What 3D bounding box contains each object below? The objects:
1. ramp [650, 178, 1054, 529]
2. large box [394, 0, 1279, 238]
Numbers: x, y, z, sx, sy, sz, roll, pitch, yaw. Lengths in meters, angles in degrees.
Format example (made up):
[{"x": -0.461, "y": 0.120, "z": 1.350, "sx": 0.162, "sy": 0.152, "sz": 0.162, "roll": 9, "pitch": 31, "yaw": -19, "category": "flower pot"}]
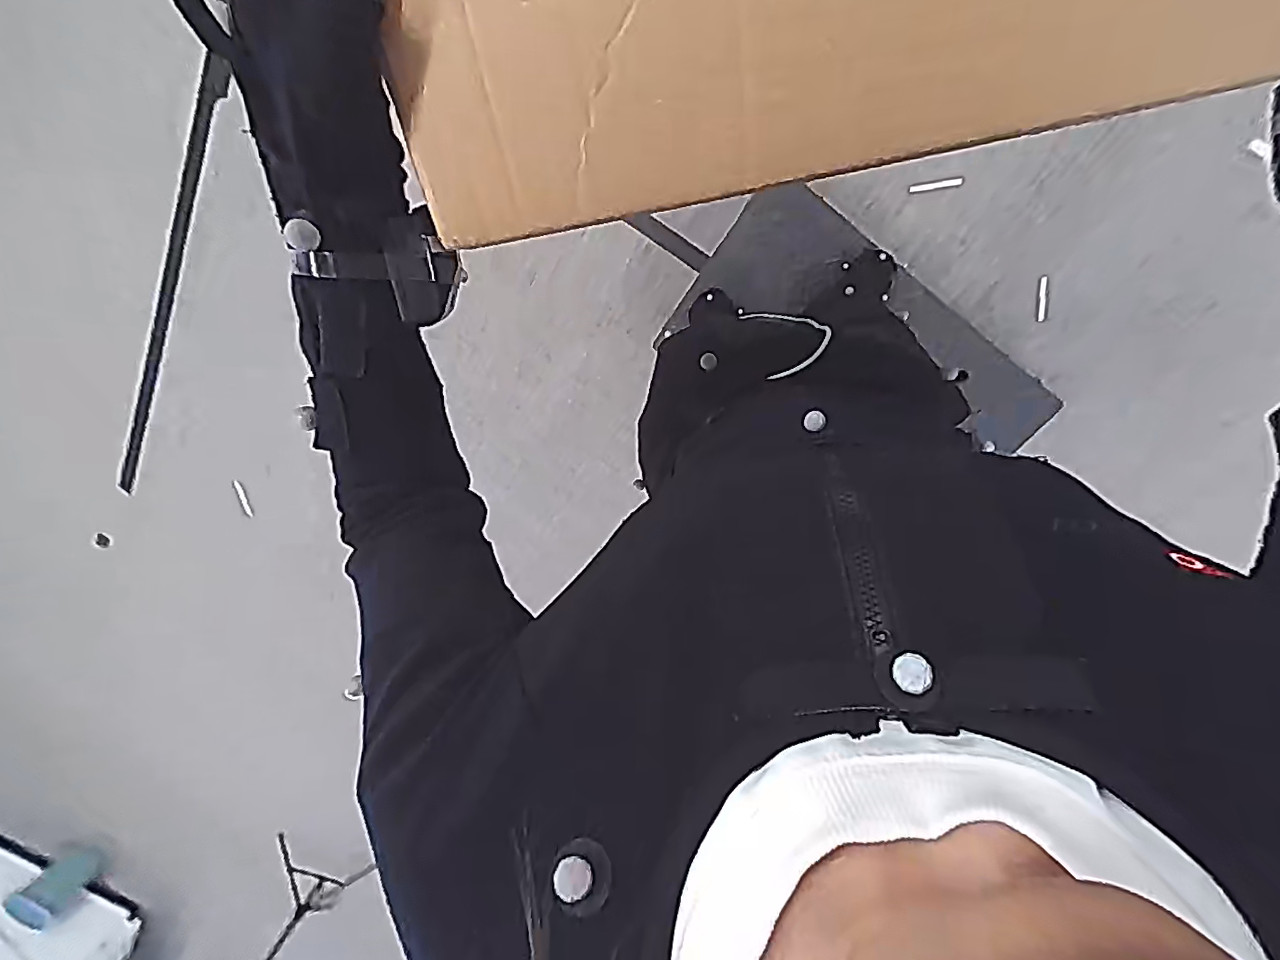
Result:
[{"x": 0.566, "y": -0.277, "z": 1.400, "sx": 0.991, "sy": 0.206, "sz": 0.509, "roll": 33, "pitch": 110, "yaw": -5, "category": "ramp"}, {"x": 0.081, "y": -0.361, "z": 0.332, "sx": 0.408, "sy": 0.320, "sz": 0.320, "roll": -7, "pitch": 117, "yaw": 10, "category": "large box"}]
